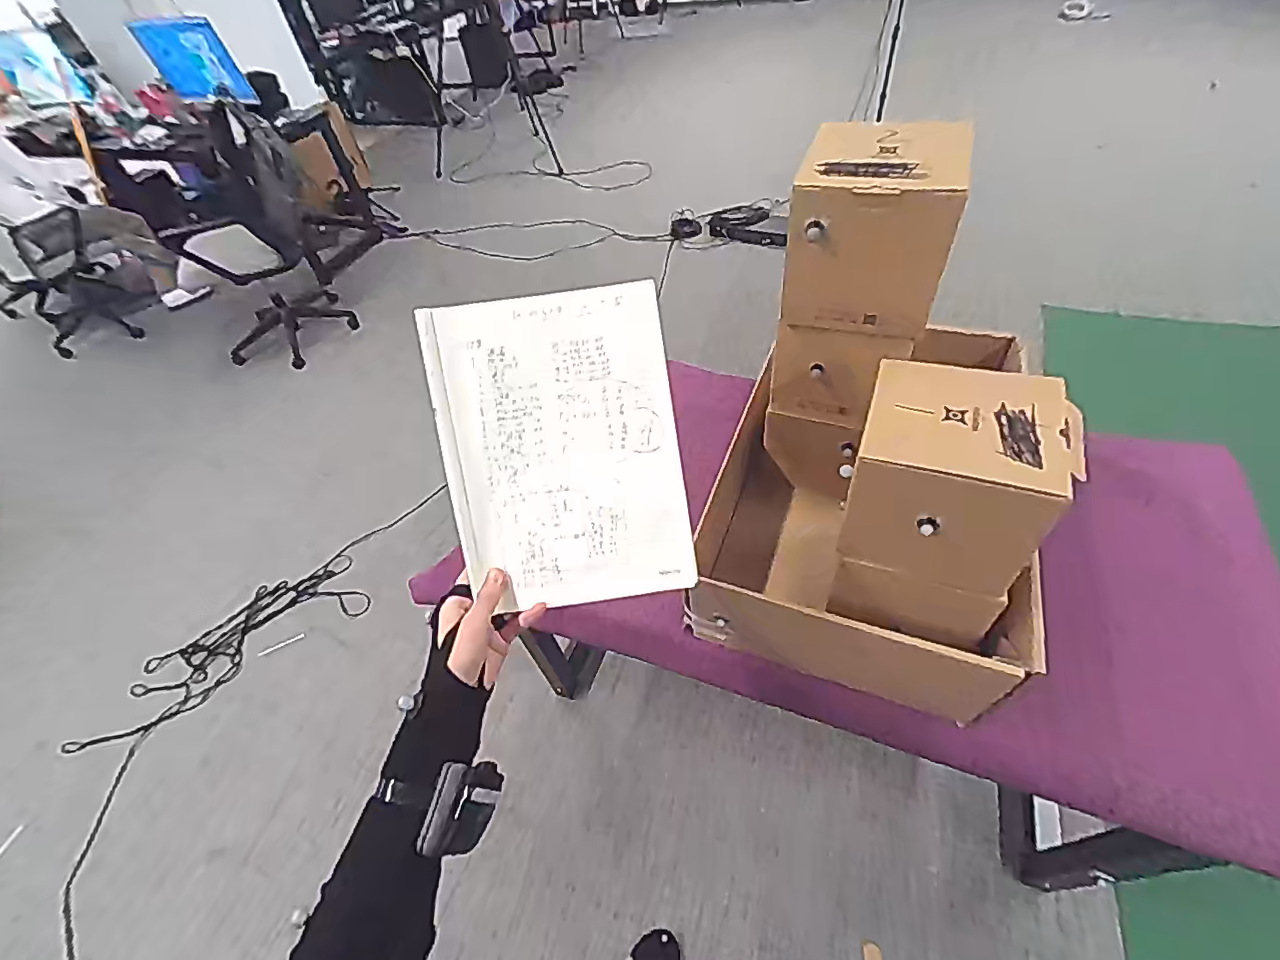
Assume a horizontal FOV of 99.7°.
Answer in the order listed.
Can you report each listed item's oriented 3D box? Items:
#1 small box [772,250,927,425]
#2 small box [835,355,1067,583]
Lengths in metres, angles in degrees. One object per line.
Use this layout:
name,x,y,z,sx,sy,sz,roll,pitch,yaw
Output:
small box,0.291,-0.201,0.771,0.168,0.176,0.179,15,54,20
small box,0.327,-0.010,0.591,0.179,0.176,0.168,13,51,22
